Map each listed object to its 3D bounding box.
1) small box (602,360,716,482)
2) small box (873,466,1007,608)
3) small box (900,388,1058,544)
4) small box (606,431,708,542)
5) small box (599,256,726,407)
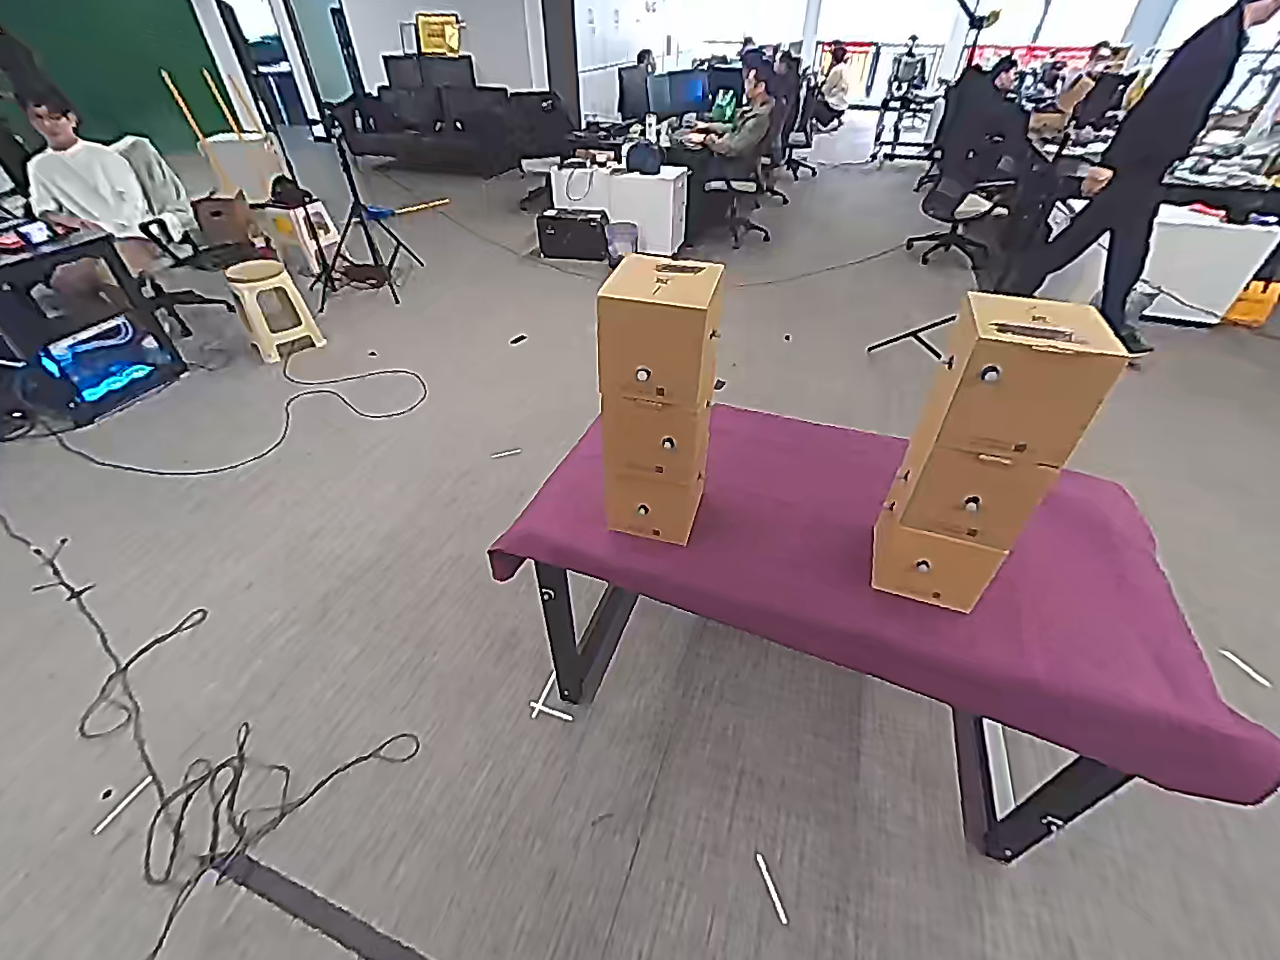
[{"bbox_3d":[0.037,-0.118,0.987,0.168,0.176,0.179,11,41,10],"label":"small box"},{"bbox_3d":[0.534,0.104,0.984,0.168,0.176,0.179,13,42,15],"label":"small box"},{"bbox_3d":[0.536,-0.023,0.881,0.168,0.176,0.179,14,43,16],"label":"small box"},{"bbox_3d":[0.038,0.000,1.098,0.168,0.176,0.179,11,41,12],"label":"small box"},{"bbox_3d":[0.037,-0.243,0.879,0.168,0.176,0.179,11,43,11],"label":"small box"}]
